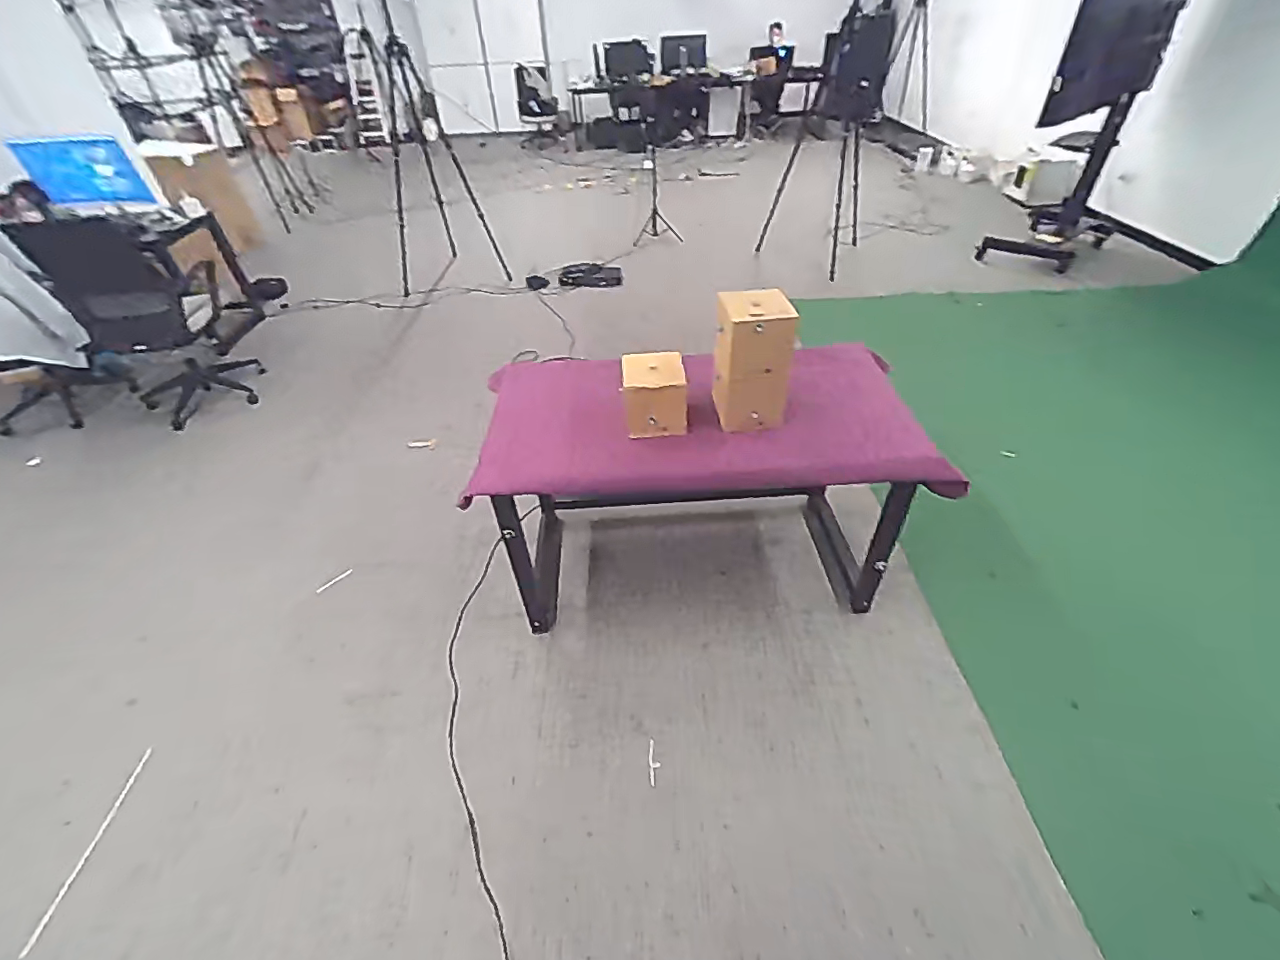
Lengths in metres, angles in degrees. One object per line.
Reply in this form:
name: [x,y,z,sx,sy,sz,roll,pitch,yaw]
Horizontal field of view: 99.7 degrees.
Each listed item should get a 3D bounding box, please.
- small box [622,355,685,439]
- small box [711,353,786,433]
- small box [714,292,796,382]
small box: [0.033,-0.234,1.524,0.168,0.176,0.179,-4,42,-2]
small box: [0.298,-0.251,1.525,0.168,0.176,0.179,-5,42,-2]
small box: [0.293,-0.374,1.417,0.168,0.176,0.179,-6,41,-3]
